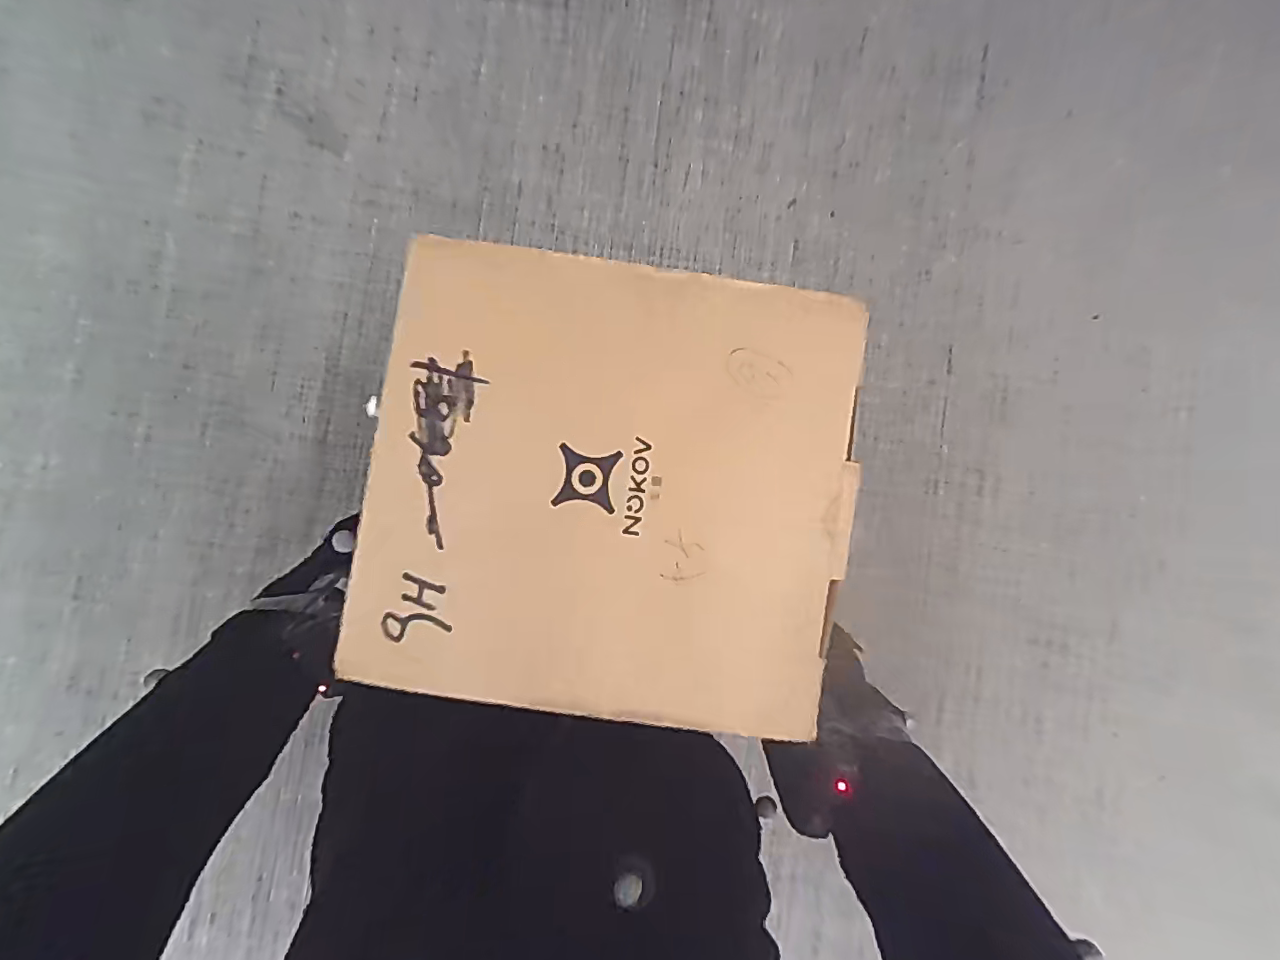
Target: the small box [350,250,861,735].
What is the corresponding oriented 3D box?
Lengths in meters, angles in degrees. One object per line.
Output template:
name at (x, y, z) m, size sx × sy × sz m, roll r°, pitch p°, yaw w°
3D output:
small box at (-0.013, 0.008, 0.286) m, size 0.179 × 0.176 × 0.168 m, roll 9°, pitch 86°, yaw -1°
